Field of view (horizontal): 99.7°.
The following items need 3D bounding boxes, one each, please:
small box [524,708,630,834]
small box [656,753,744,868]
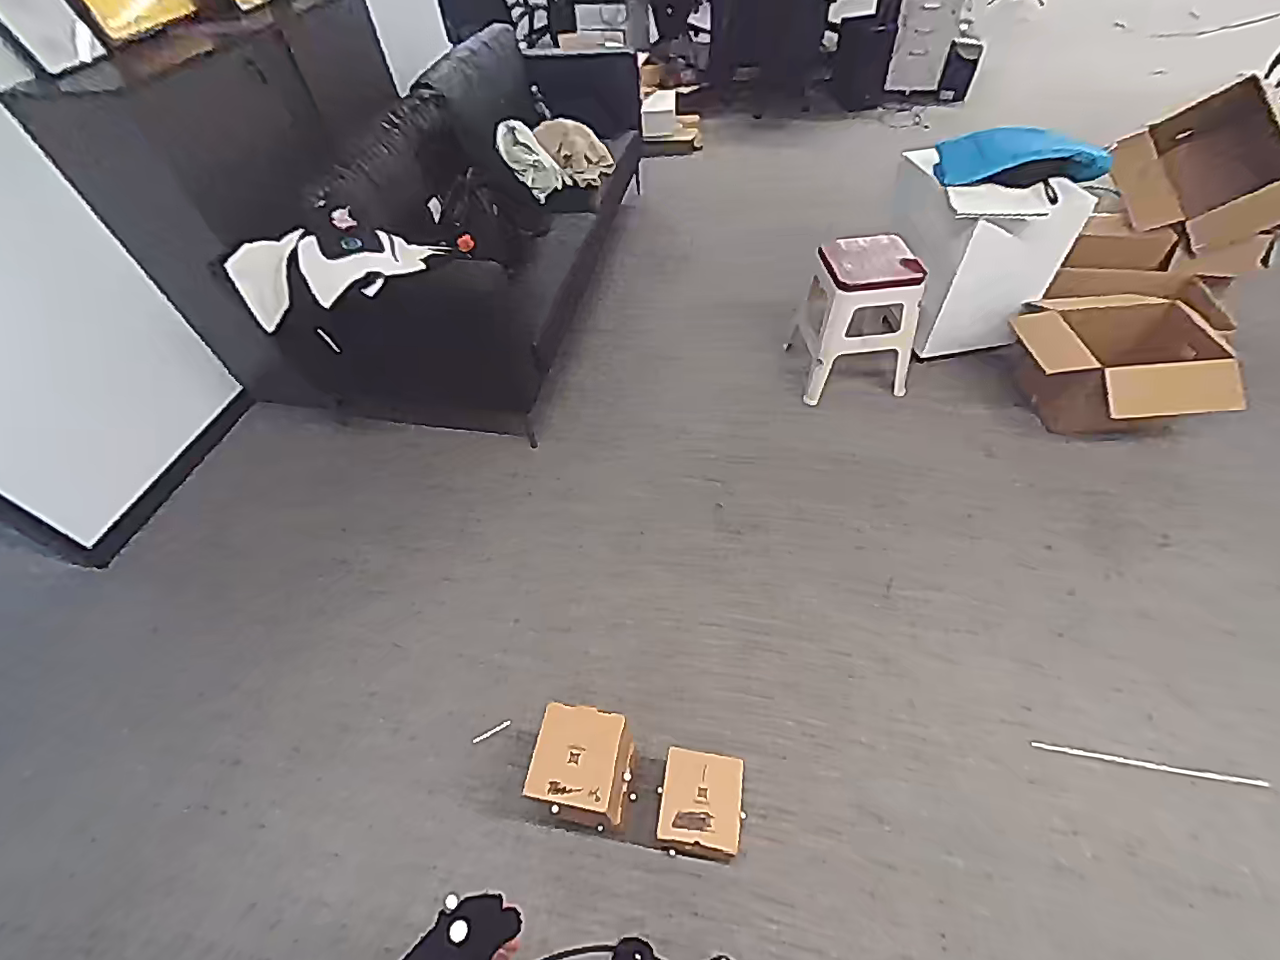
[{"bbox_3d":[-0.118,0.596,1.107,0.168,0.176,0.179,6,50,10],"label":"small box"},{"bbox_3d":[0.133,0.728,1.185,0.168,0.176,0.179,6,50,10],"label":"small box"}]
